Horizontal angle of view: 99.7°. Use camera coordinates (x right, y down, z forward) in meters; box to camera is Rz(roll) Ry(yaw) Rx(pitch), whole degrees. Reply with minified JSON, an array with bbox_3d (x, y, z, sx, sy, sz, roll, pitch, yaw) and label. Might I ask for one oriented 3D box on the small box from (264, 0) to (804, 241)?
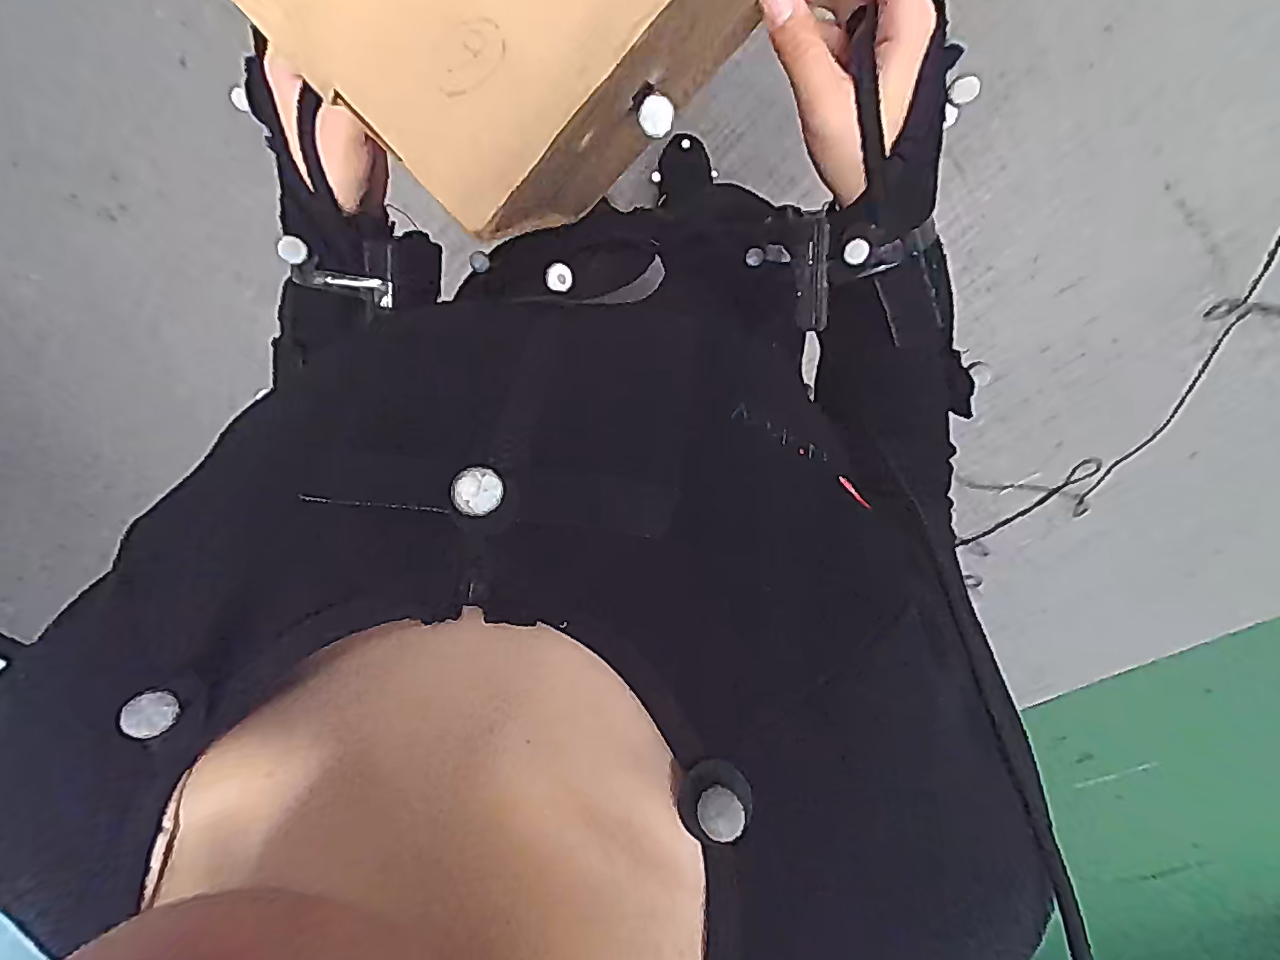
[{"bbox_3d":[-0.032,-0.221,0.206,0.179,0.176,0.168,-36,107,23],"label":"small box"}]
